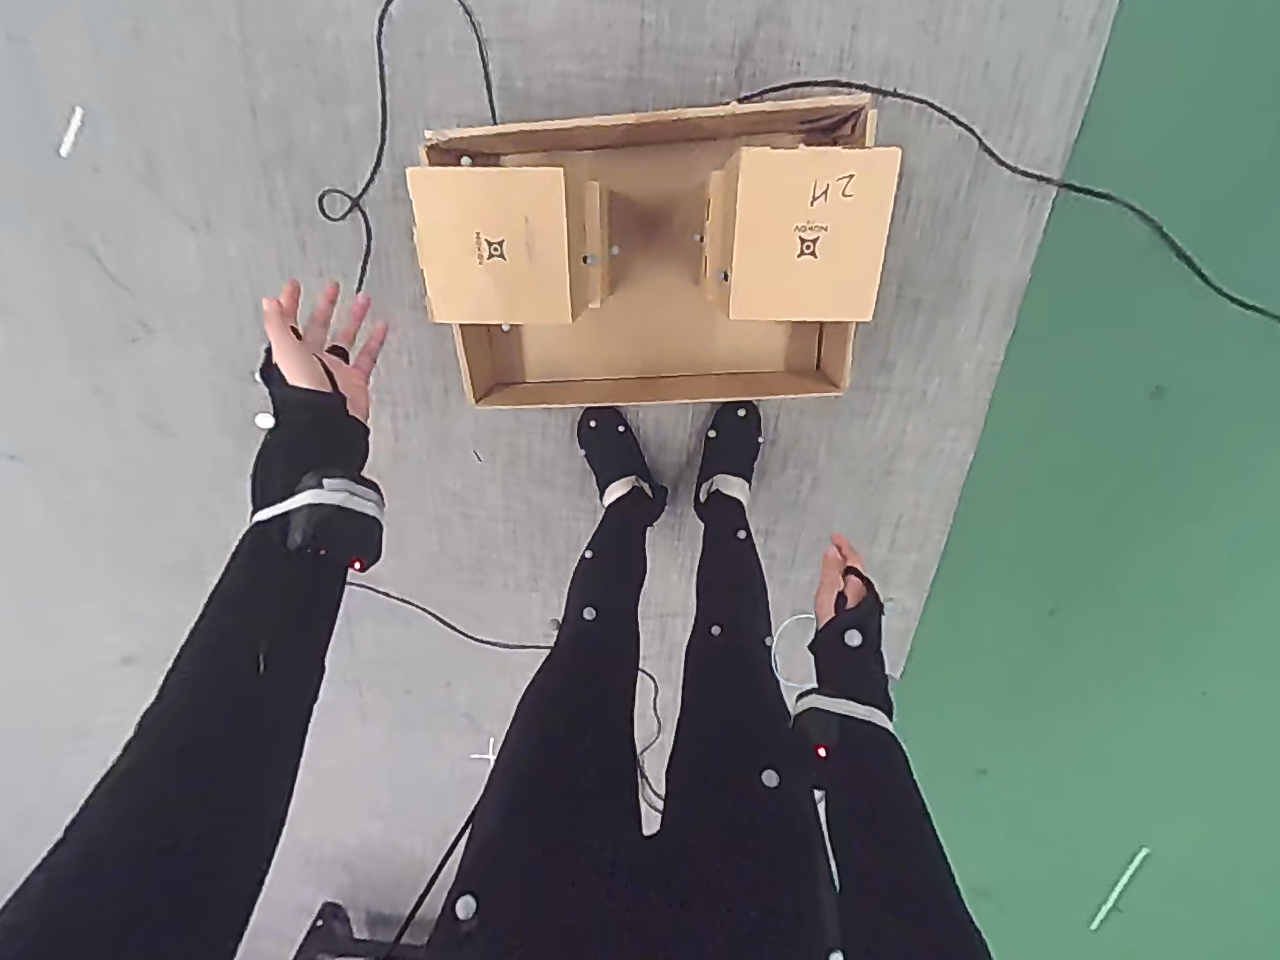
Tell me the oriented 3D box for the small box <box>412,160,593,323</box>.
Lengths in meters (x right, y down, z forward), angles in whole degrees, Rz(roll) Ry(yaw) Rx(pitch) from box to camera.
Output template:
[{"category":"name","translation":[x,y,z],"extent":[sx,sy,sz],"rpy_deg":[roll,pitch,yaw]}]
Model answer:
[{"category":"small box","translation":[-0.158,-0.298,0.683],"extent":[0.179,0.176,0.168],"rpy_deg":[2,115,2]}]

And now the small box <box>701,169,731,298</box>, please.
[{"category":"small box","translation":[0.185,-0.362,0.813],"extent":[0.179,0.176,0.168],"rpy_deg":[3,114,3]}]

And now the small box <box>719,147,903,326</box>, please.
[{"category":"small box","translation":[0.191,-0.293,0.663],"extent":[0.168,0.176,0.179],"rpy_deg":[2,113,1]}]
